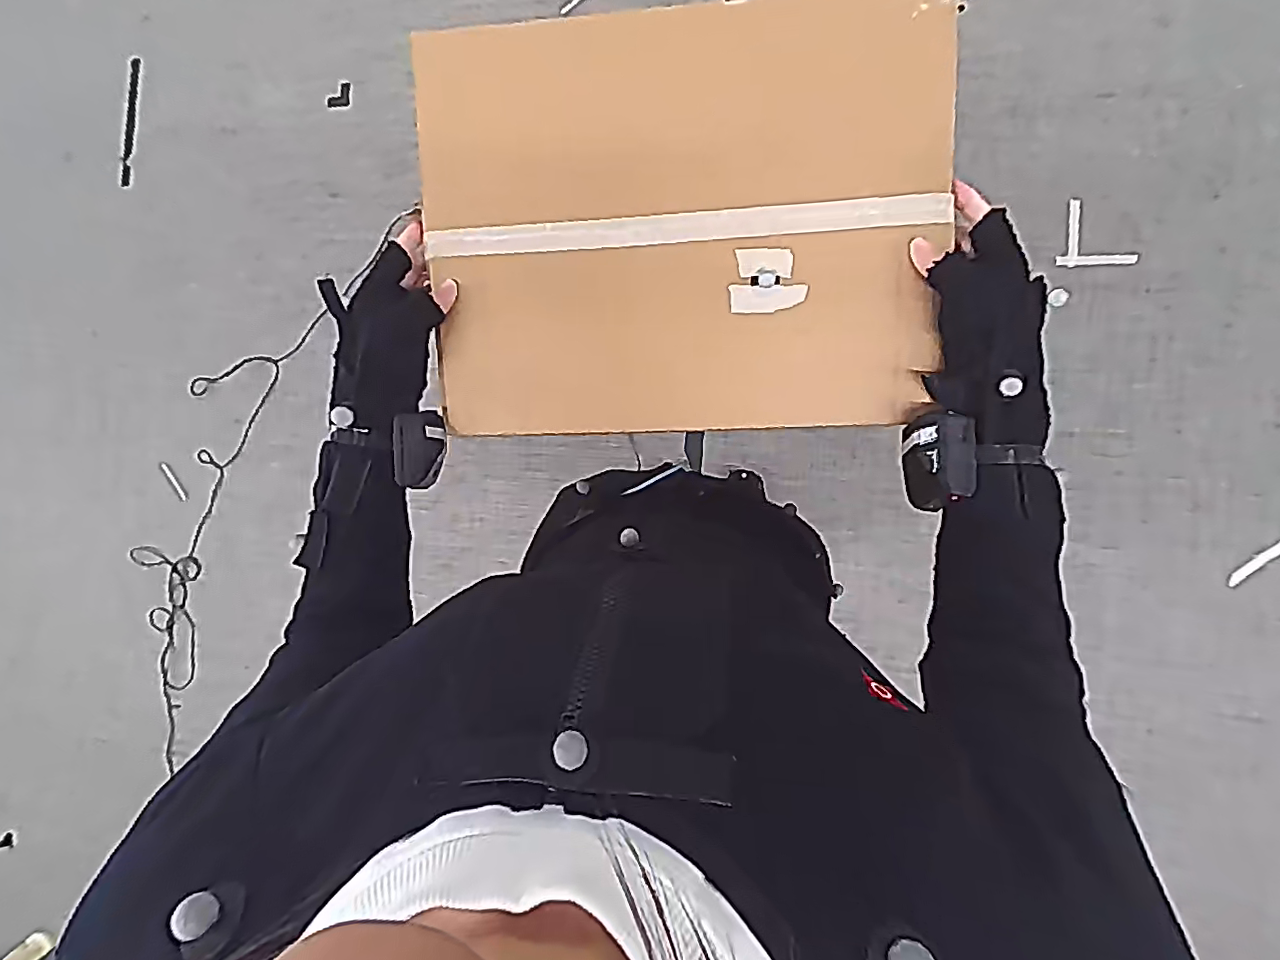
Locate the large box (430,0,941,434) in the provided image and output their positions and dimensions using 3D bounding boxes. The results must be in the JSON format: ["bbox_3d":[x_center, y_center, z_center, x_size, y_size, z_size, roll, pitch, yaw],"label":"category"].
[{"bbox_3d":[0.044,-0.218,0.583,0.408,0.320,0.320,-1,98,6],"label":"large box"}]
